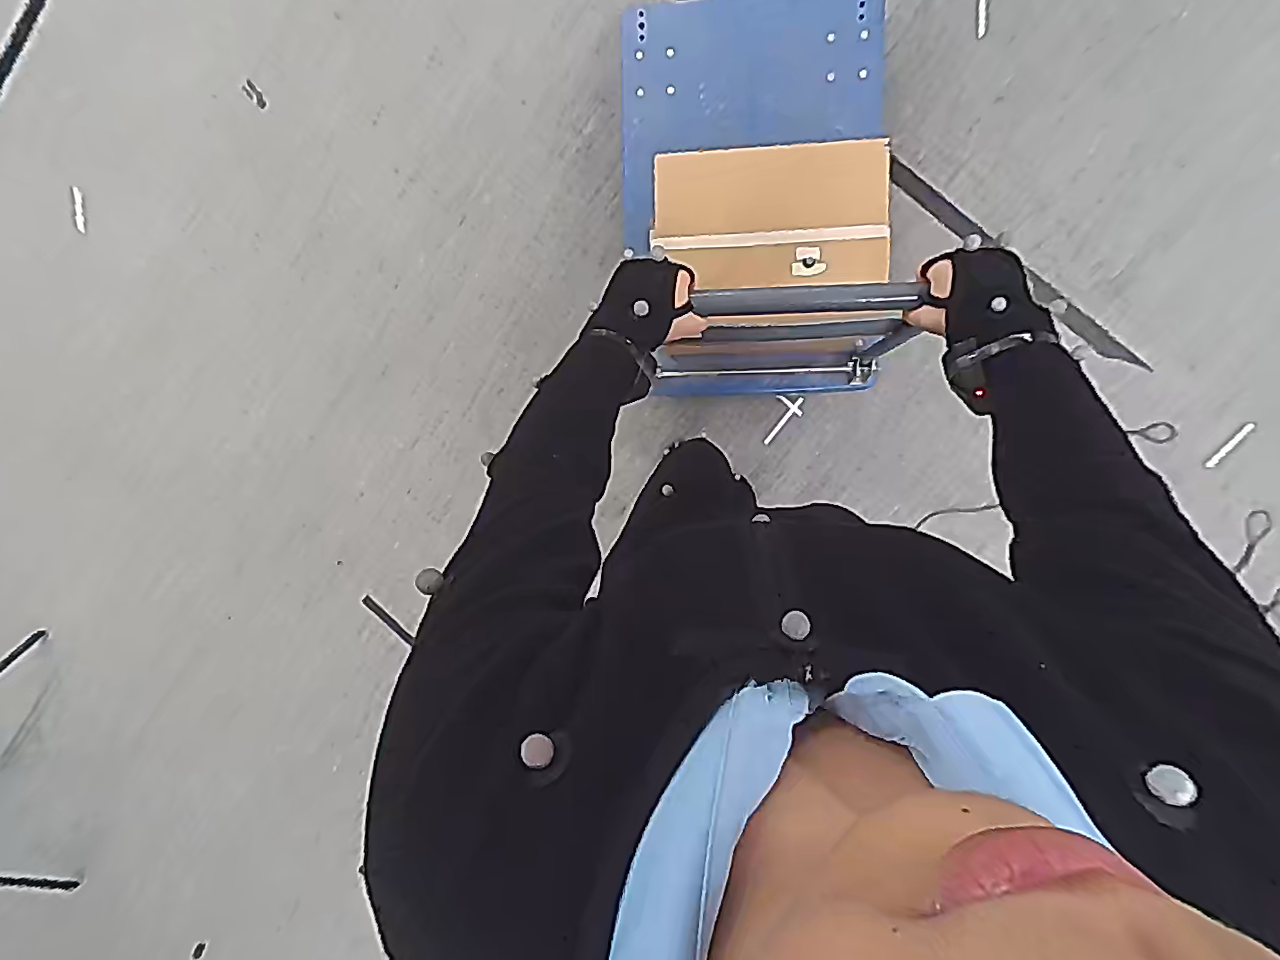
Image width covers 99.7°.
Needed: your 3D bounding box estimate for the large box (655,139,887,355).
[{"bbox_3d":[0.242,-0.442,1.105,0.408,0.320,0.320,-1,95,5],"label":"large box"}]
